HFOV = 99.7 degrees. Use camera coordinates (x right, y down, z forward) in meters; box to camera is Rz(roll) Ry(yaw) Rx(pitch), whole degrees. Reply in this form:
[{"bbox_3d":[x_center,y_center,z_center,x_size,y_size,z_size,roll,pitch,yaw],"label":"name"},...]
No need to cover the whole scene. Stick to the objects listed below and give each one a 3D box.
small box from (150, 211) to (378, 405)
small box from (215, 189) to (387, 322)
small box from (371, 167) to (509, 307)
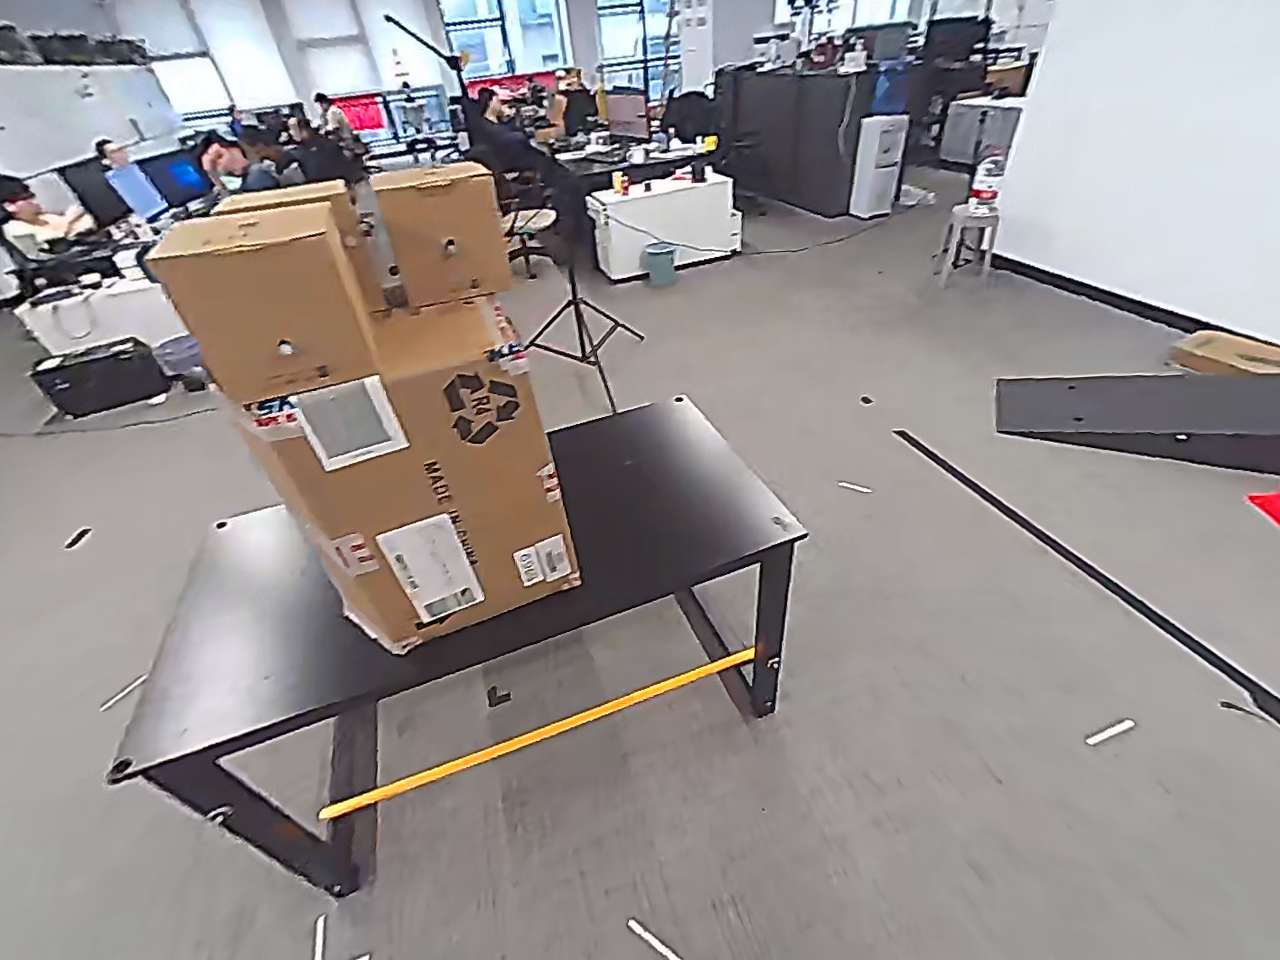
[{"bbox_3d":[-0.440,-0.216,0.667,0.168,0.176,0.179,-18,41,-17],"label":"small box"},{"bbox_3d":[-0.510,-0.339,0.838,0.168,0.176,0.179,-20,39,-18],"label":"small box"},{"bbox_3d":[-0.322,-0.393,0.879,0.168,0.176,0.179,-17,40,-16],"label":"small box"}]
